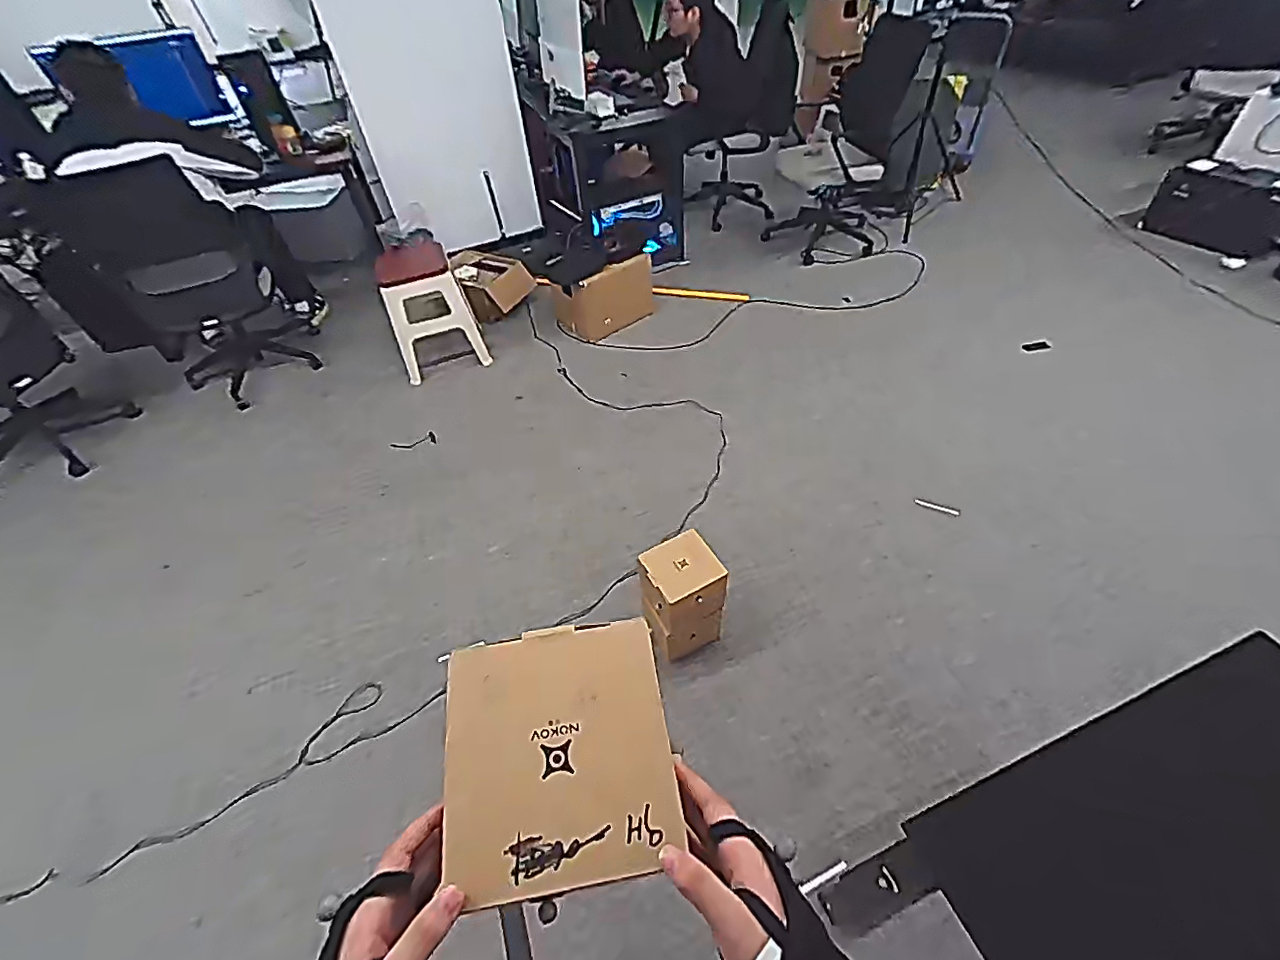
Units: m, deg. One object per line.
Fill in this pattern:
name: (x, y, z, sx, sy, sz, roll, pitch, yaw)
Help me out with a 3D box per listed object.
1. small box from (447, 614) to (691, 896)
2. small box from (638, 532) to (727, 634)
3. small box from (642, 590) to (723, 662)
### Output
small box: (-0.056, 0.242, 0.471, 0.168, 0.176, 0.179, -9, 53, -4)
small box: (0.113, 0.275, 1.431, 0.179, 0.176, 0.168, -24, 51, -18)
small box: (0.119, 0.388, 1.548, 0.179, 0.176, 0.168, -23, 49, -14)
